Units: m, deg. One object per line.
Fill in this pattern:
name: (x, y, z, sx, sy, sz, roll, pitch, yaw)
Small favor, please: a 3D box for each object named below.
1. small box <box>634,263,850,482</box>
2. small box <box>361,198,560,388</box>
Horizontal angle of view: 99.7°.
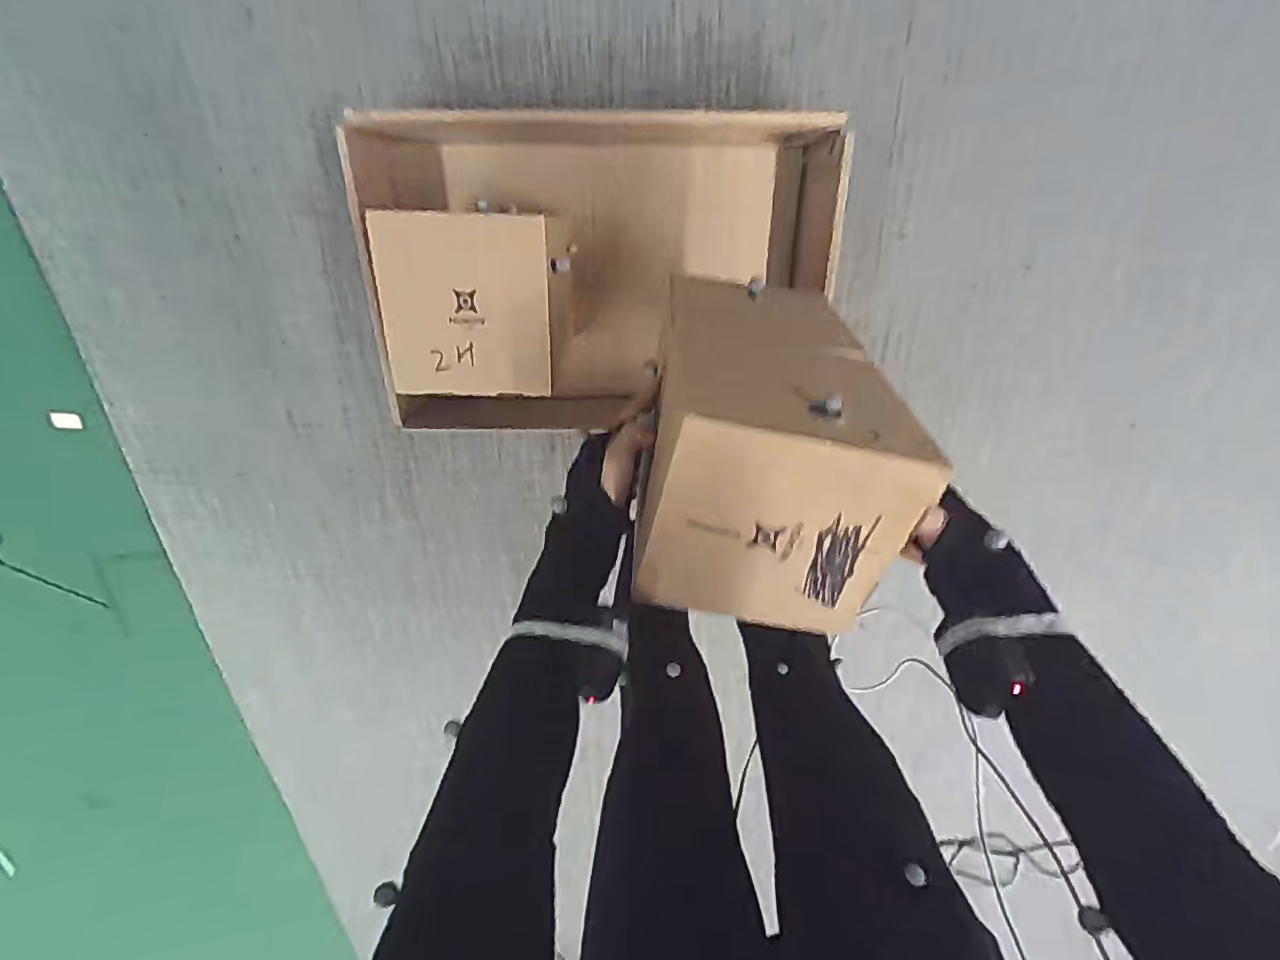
small box: (0.095, -0.122, 0.583, 0.179, 0.176, 0.168, 8, 127, -1)
small box: (-0.182, -0.212, 0.607, 0.168, 0.176, 0.179, 1, 116, -2)
